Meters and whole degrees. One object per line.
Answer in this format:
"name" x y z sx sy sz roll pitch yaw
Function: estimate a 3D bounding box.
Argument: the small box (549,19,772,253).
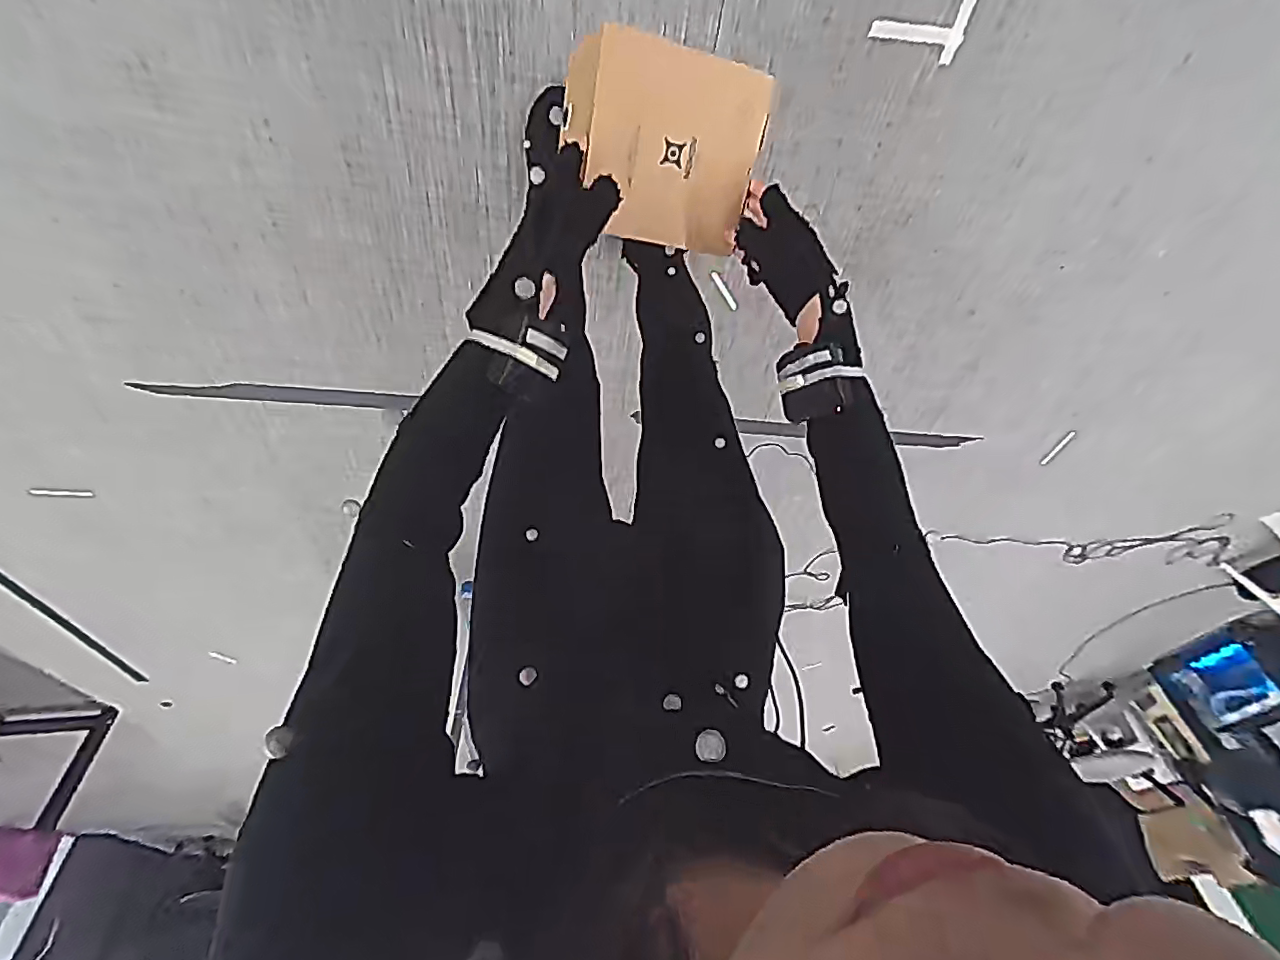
"small box" 0.008 -0.362 0.590 0.179 0.176 0.168 2 120 -20
